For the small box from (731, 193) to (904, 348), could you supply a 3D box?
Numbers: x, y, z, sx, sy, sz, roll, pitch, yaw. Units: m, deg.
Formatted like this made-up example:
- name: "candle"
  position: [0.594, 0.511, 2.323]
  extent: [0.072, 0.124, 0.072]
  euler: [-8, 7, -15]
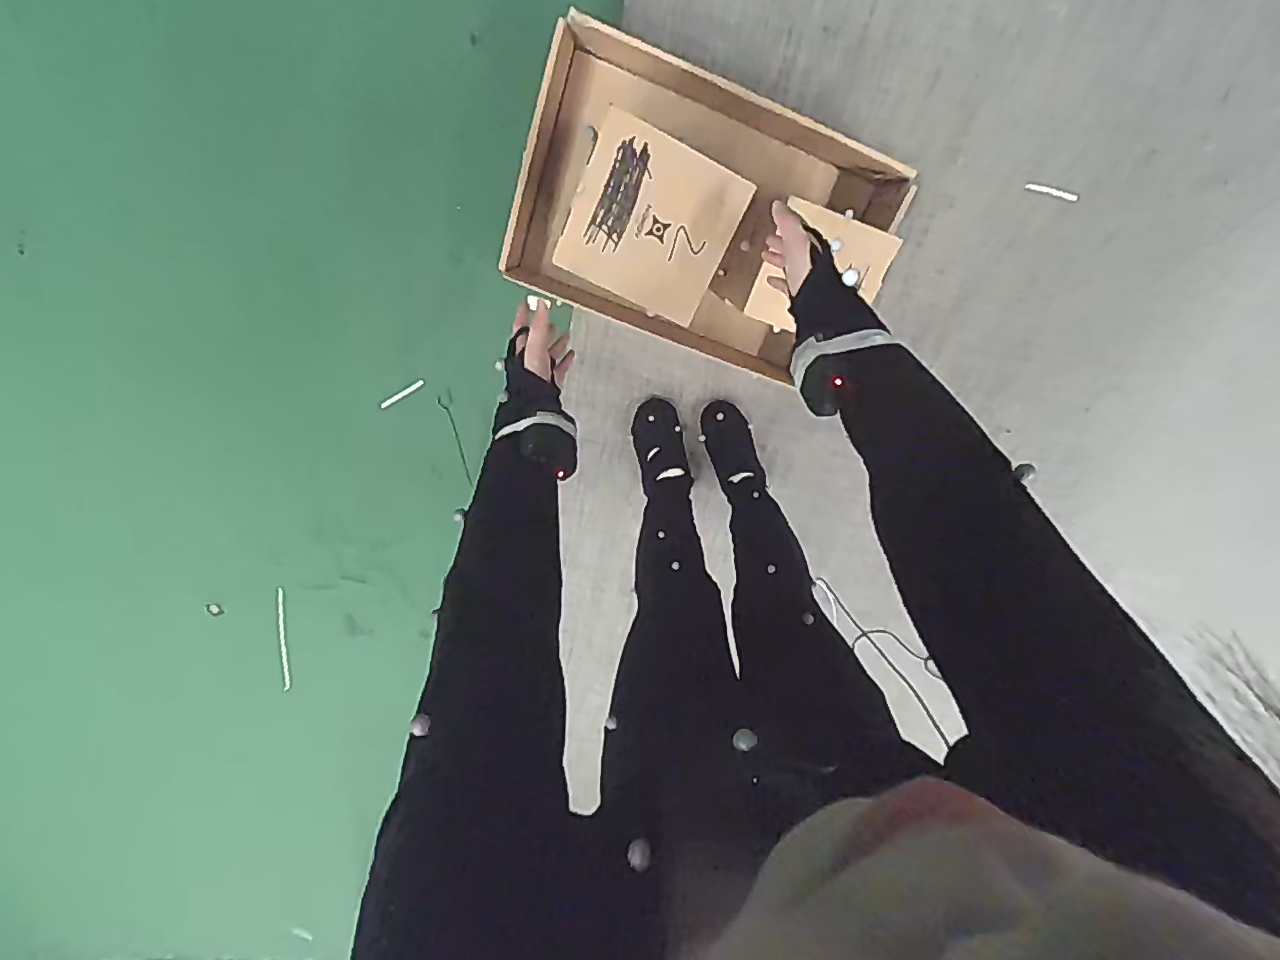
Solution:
- name: "small box"
  position: [0.258, -0.325, 0.833]
  extent: [0.179, 0.176, 0.168]
  euler: [17, 115, -7]

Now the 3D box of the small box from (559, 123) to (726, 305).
- name: "small box"
  position: [-0.002, -0.387, 0.805]
  extent: [0.179, 0.176, 0.168]
  euler: [26, 113, -16]
